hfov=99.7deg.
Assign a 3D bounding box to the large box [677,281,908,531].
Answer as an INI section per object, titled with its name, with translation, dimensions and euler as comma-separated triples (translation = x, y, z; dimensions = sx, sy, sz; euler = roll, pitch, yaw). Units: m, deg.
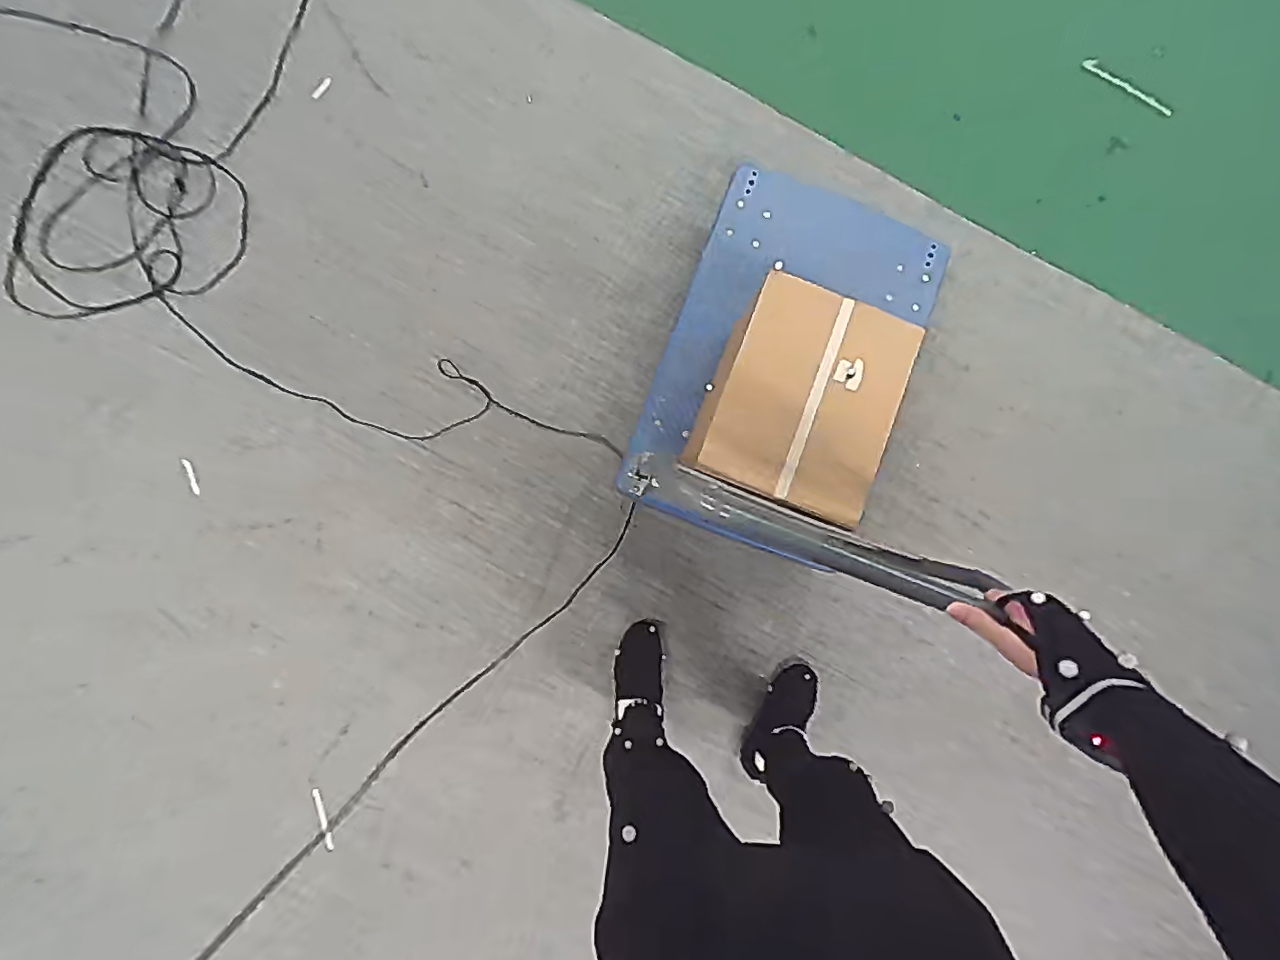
[large box]
translation = 0.298, -0.128, 1.154
dimensions = 0.320, 0.320, 0.408
euler = 21, 83, -2
